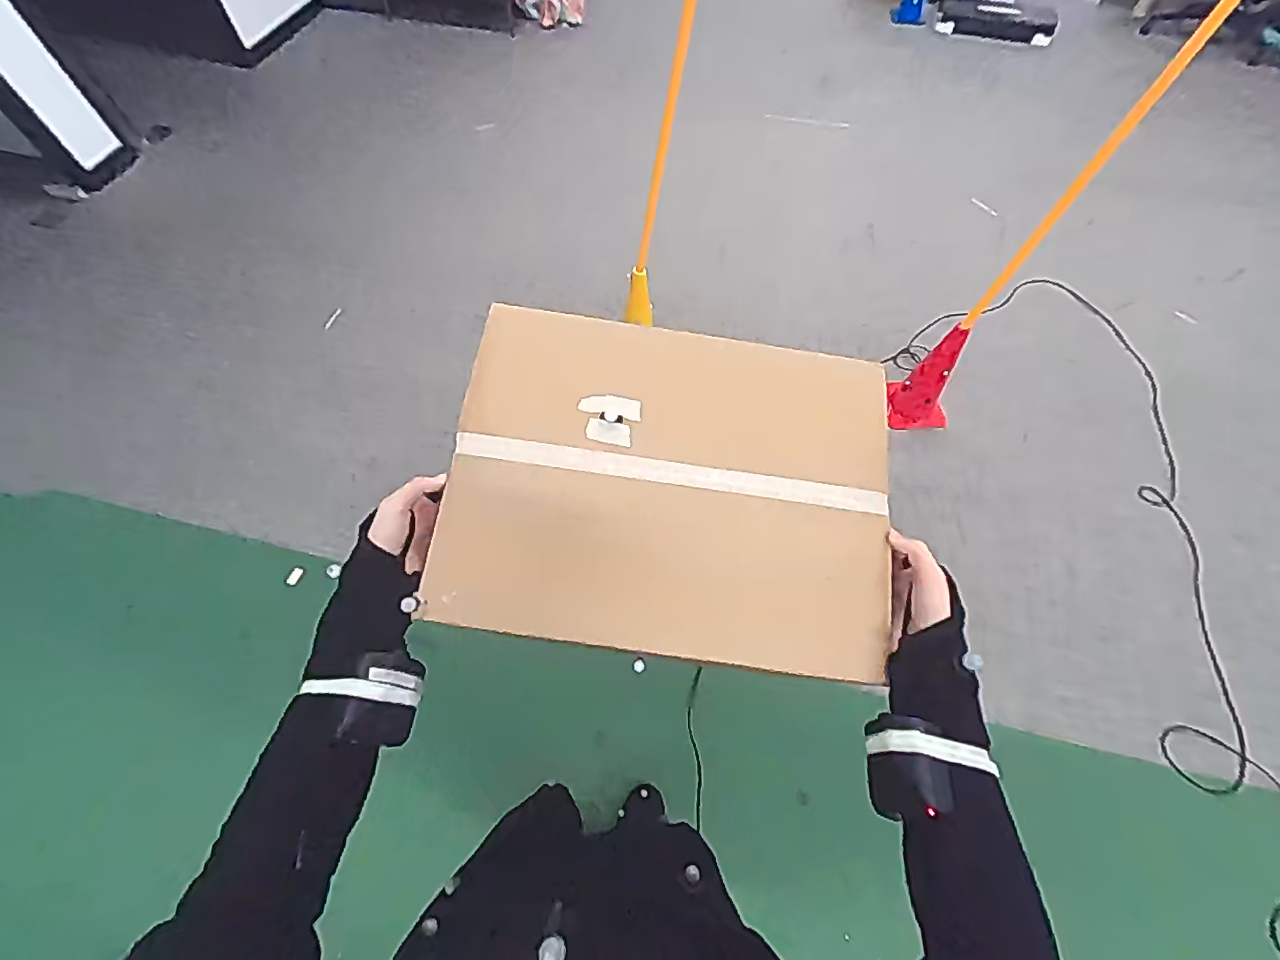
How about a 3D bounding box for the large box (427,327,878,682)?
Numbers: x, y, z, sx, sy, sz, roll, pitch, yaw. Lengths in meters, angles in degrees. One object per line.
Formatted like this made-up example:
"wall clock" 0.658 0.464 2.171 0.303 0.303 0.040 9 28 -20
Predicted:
"large box" 0.023 0.053 0.656 0.408 0.320 0.320 8 71 0
